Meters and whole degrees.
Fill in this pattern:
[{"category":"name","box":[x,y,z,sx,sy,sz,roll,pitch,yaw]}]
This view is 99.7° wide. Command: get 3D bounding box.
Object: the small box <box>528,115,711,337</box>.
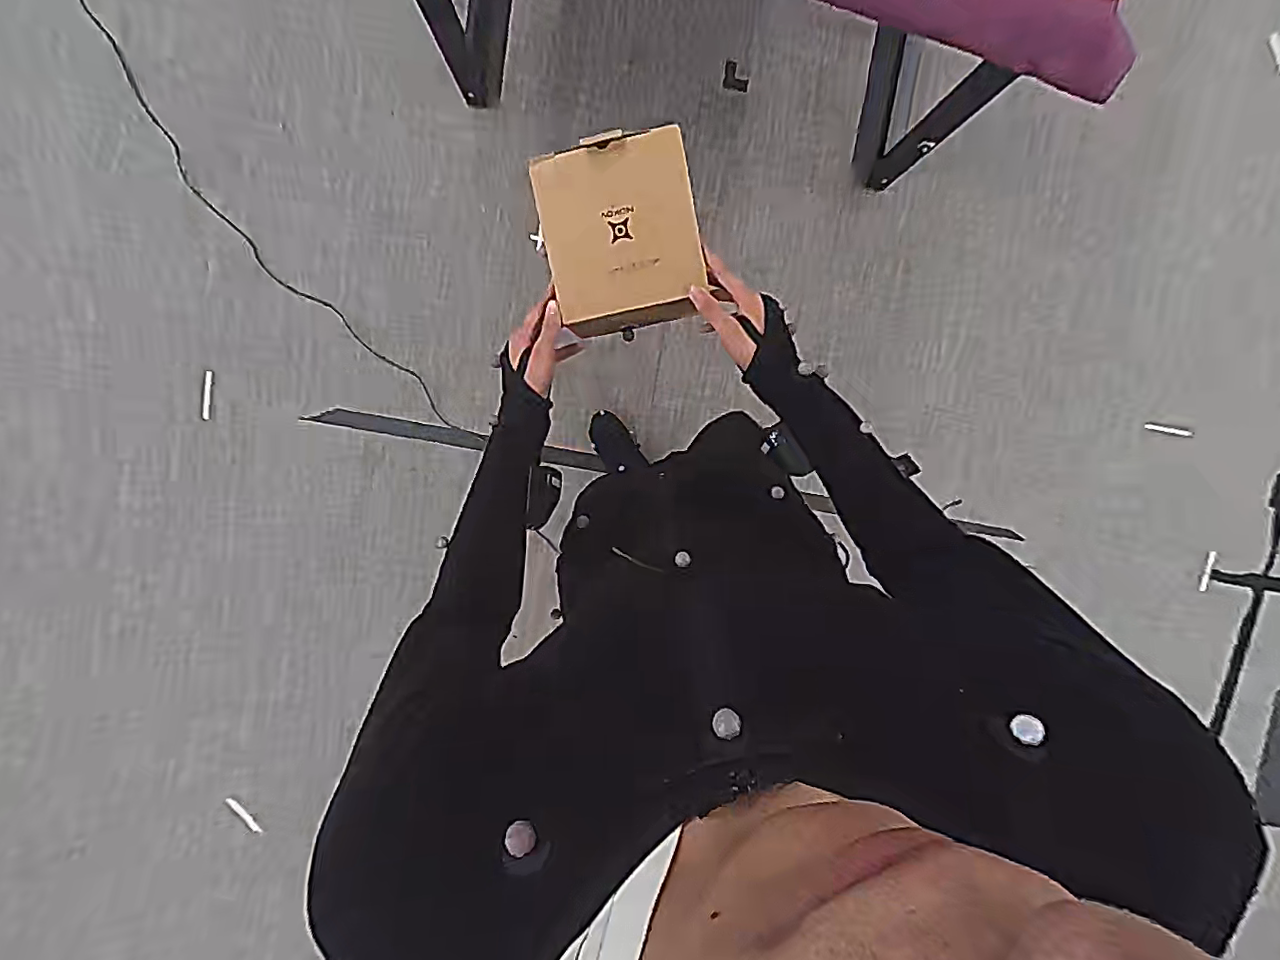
[{"category":"small box","box":[-0.019,-0.284,0.646,0.168,0.176,0.179,-12,96,4]}]
